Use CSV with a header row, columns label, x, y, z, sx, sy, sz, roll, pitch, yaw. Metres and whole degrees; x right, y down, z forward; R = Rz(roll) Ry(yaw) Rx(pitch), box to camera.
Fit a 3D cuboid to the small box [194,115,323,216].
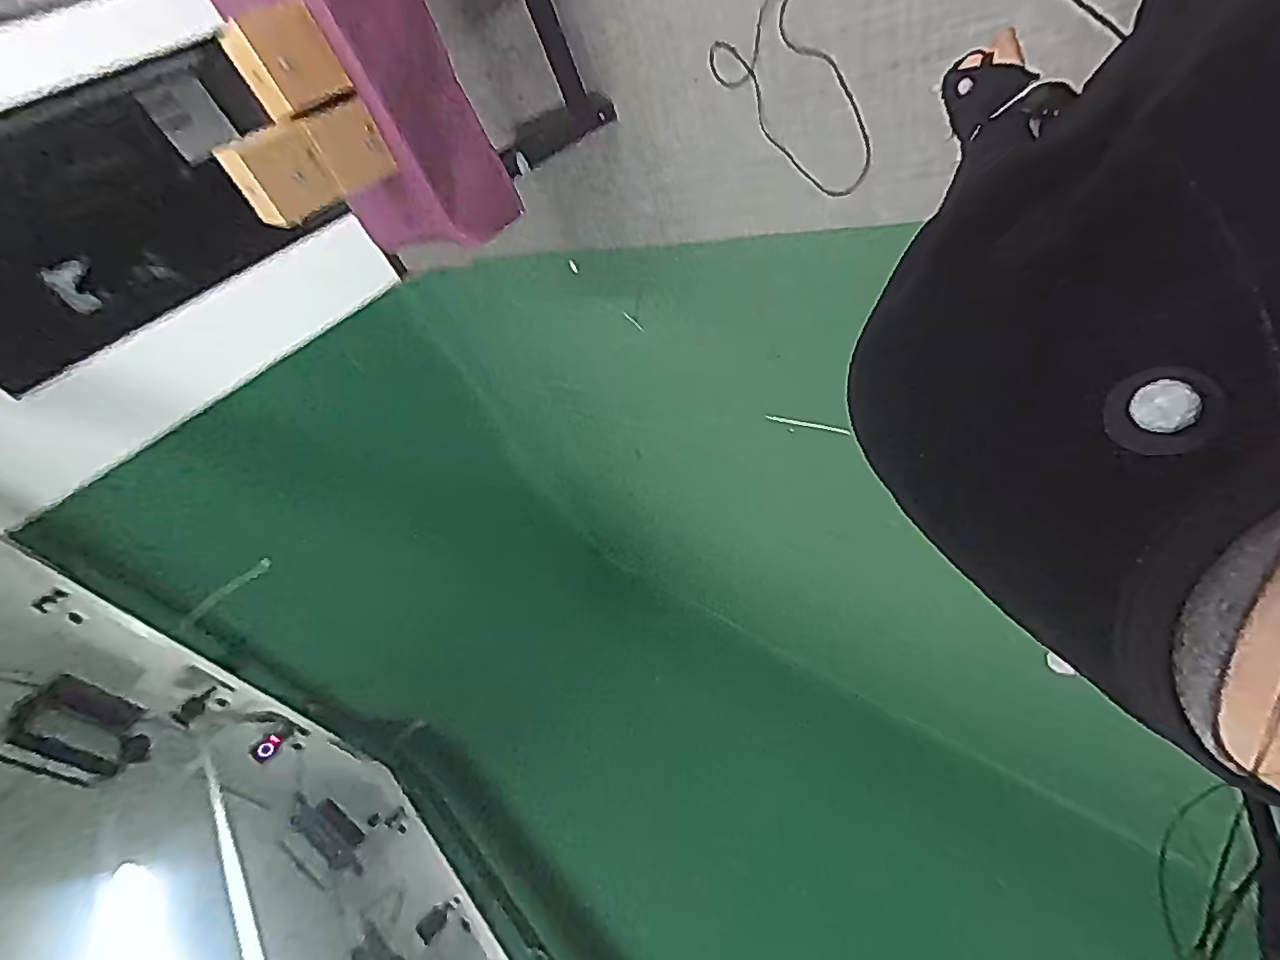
label,x,y,z,sx,sy,sz,roll,pitch,yaw
small box,-0.912,-0.762,1.308,0.179,0.176,0.168,24,148,34
